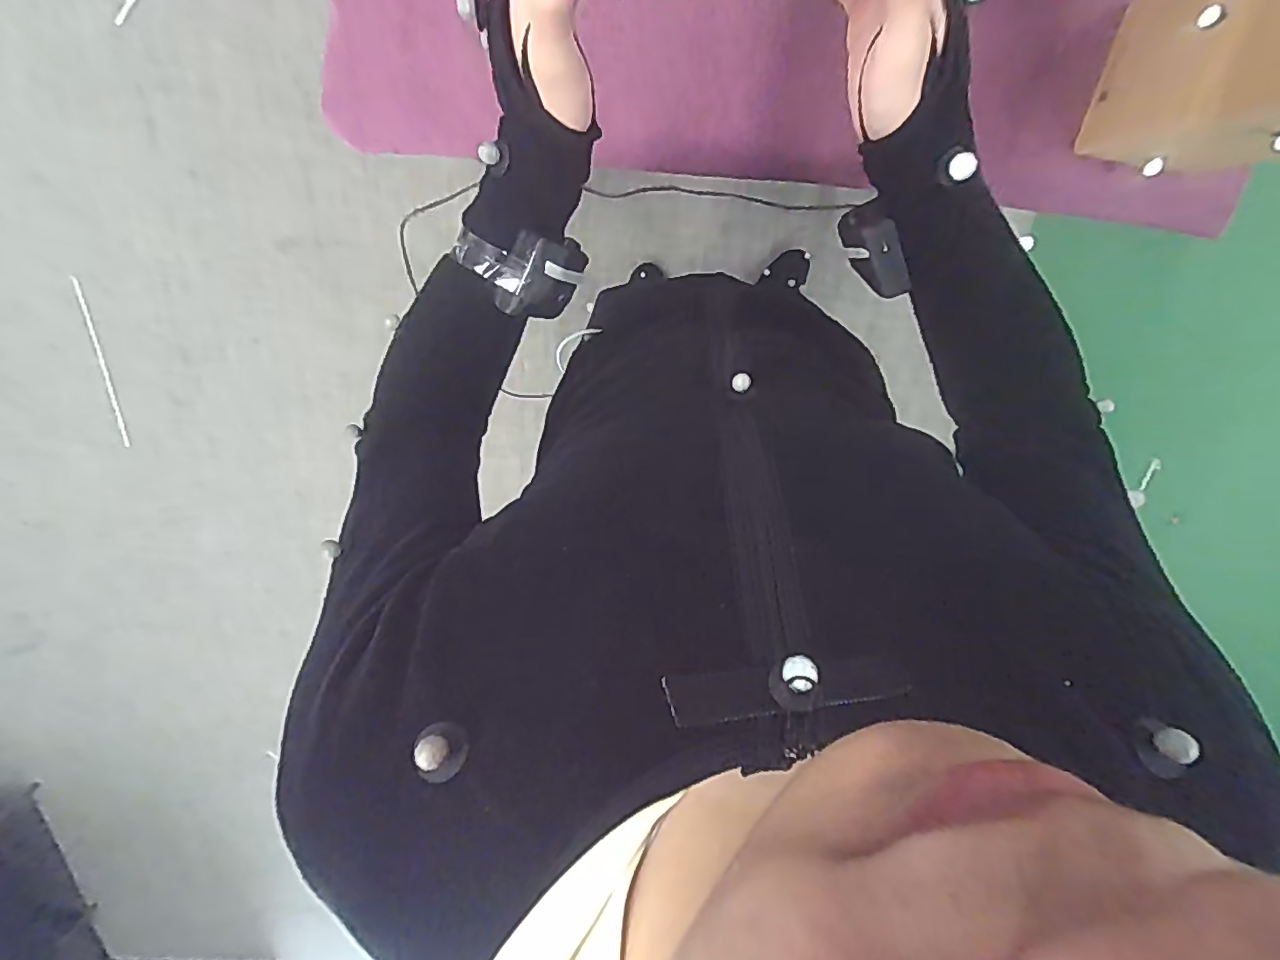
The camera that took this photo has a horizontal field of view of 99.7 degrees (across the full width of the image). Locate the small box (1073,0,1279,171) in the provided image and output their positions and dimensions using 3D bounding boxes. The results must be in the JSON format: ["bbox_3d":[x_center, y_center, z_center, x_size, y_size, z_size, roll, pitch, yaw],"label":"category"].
[{"bbox_3d":[0.674,-0.473,0.628,0.179,0.176,0.168,8,111,-4],"label":"small box"}]
